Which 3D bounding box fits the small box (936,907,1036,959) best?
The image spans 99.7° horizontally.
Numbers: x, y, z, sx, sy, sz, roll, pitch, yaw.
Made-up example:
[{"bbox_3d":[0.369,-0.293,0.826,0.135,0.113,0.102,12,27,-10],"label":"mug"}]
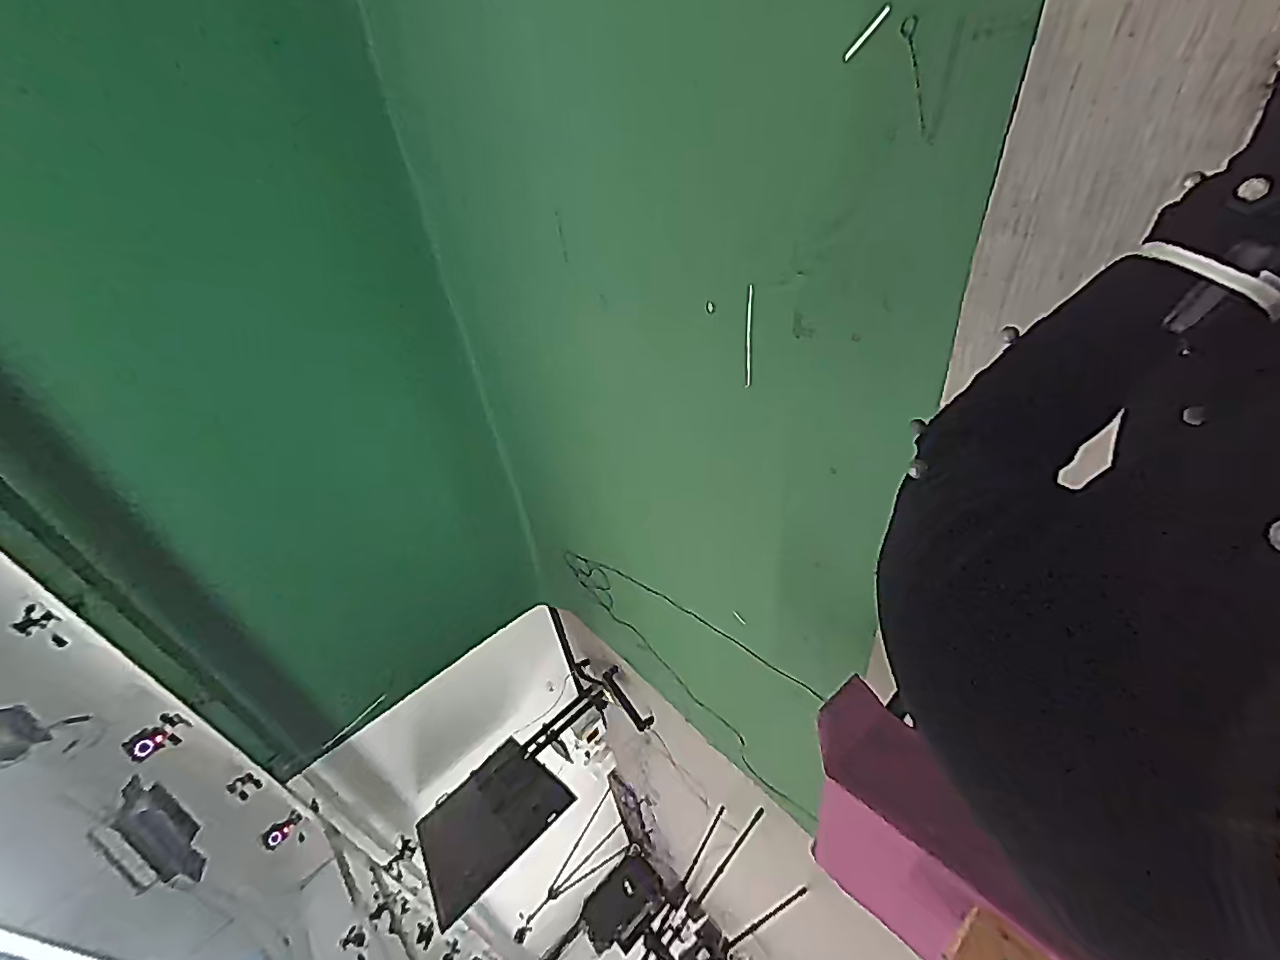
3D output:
[{"bbox_3d":[0.760,1.094,1.188,0.168,0.176,0.179,31,142,38],"label":"small box"}]
